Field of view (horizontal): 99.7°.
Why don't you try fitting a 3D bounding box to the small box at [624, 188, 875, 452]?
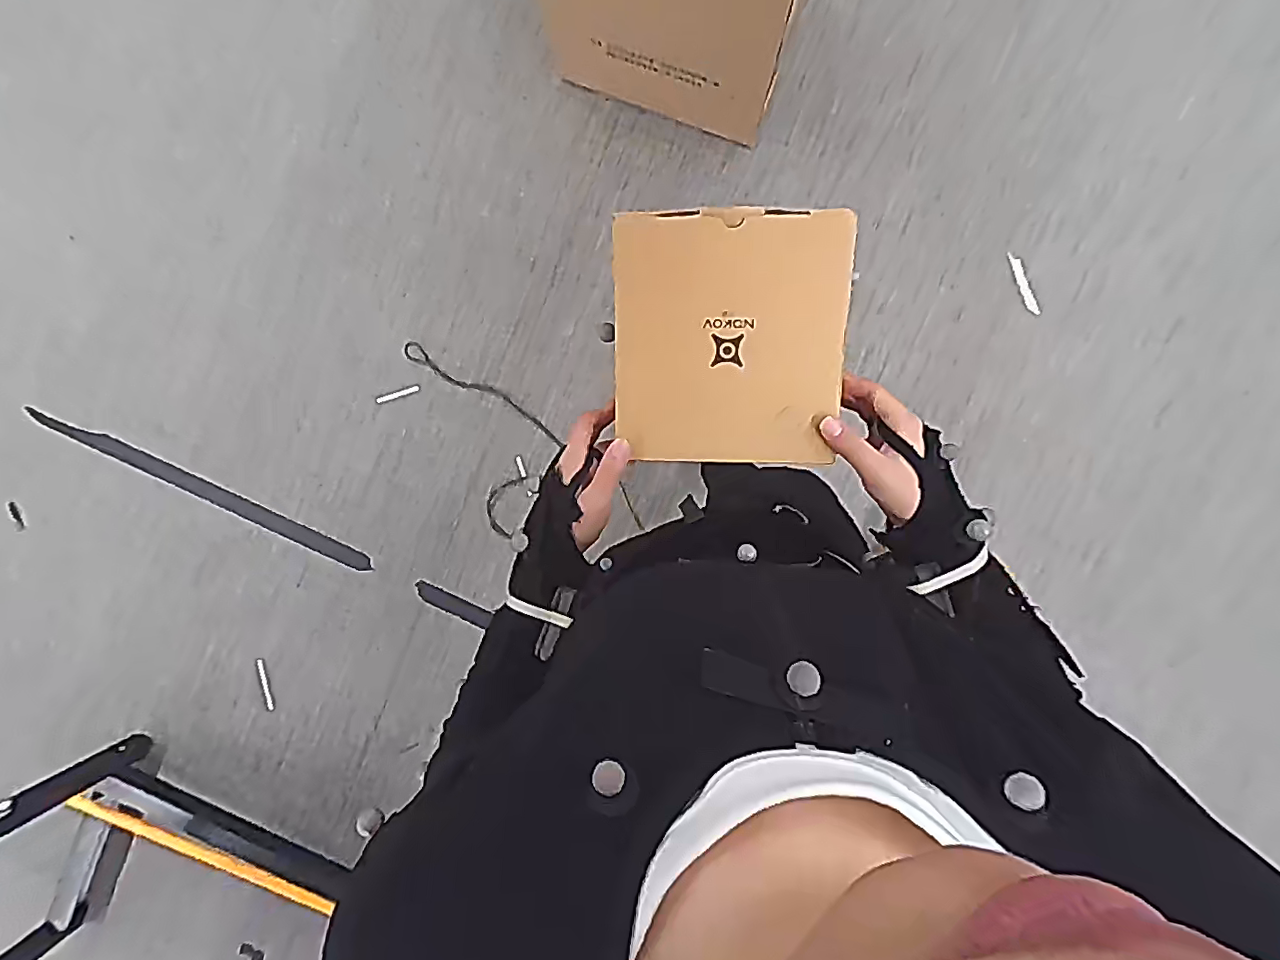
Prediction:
[{"bbox_3d":[0.078,-0.126,0.453,0.168,0.176,0.179,1,103,5],"label":"small box"}]
